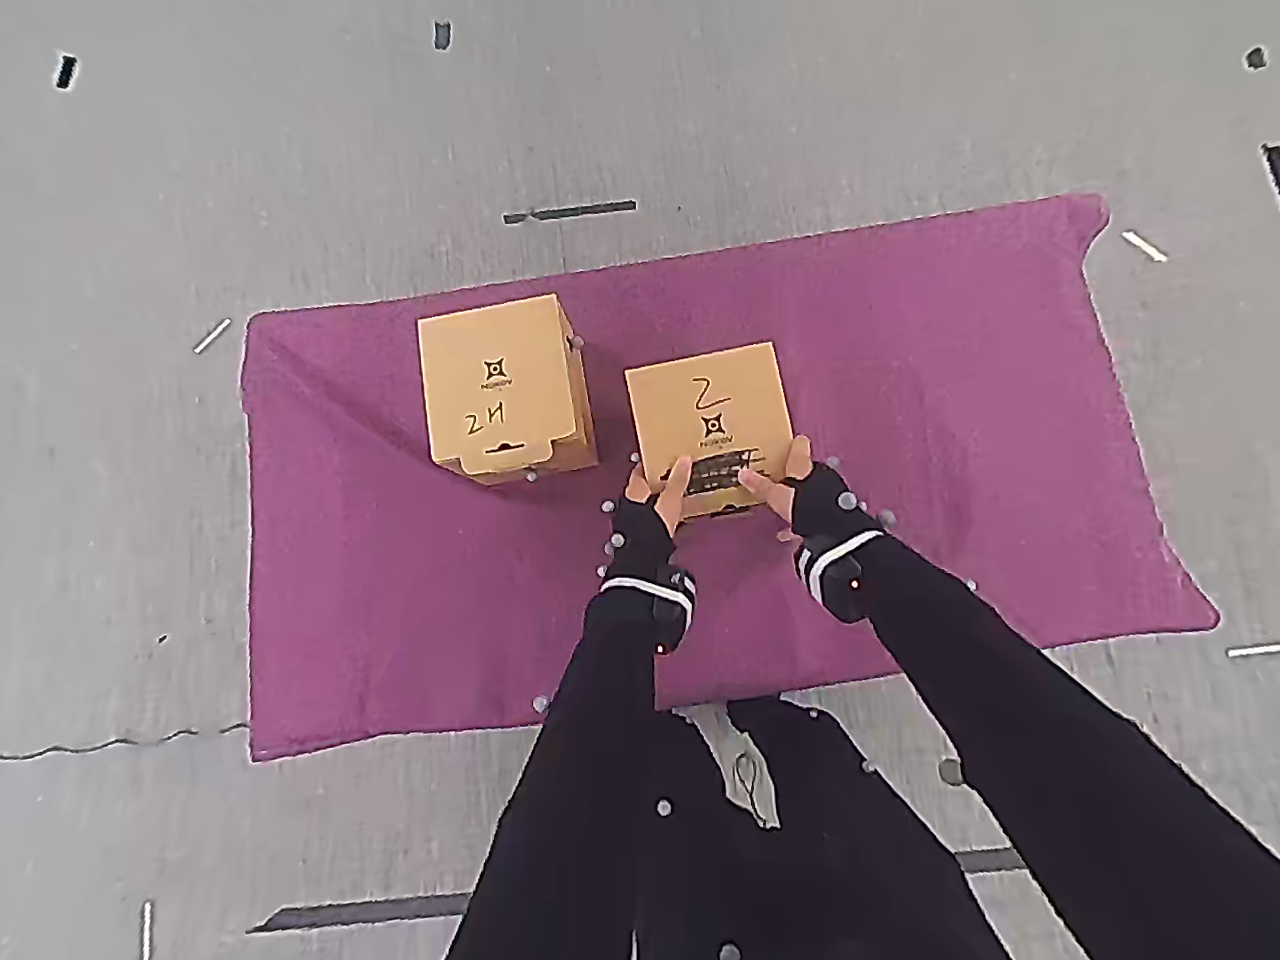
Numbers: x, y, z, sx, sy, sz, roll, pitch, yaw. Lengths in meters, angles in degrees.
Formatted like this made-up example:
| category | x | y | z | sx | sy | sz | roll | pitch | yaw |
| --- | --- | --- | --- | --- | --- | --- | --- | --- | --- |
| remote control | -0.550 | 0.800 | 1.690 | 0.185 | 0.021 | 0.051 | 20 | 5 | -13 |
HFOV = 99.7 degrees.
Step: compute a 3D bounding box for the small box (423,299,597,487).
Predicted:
| category | x | y | z | sx | sy | sz | roll | pitch | yaw |
| --- | --- | --- | --- | --- | --- | --- | --- | --- | --- |
| small box | -0.156 | -0.099 | 0.690 | 0.168 | 0.176 | 0.179 | -10 | 80 | 2 |
